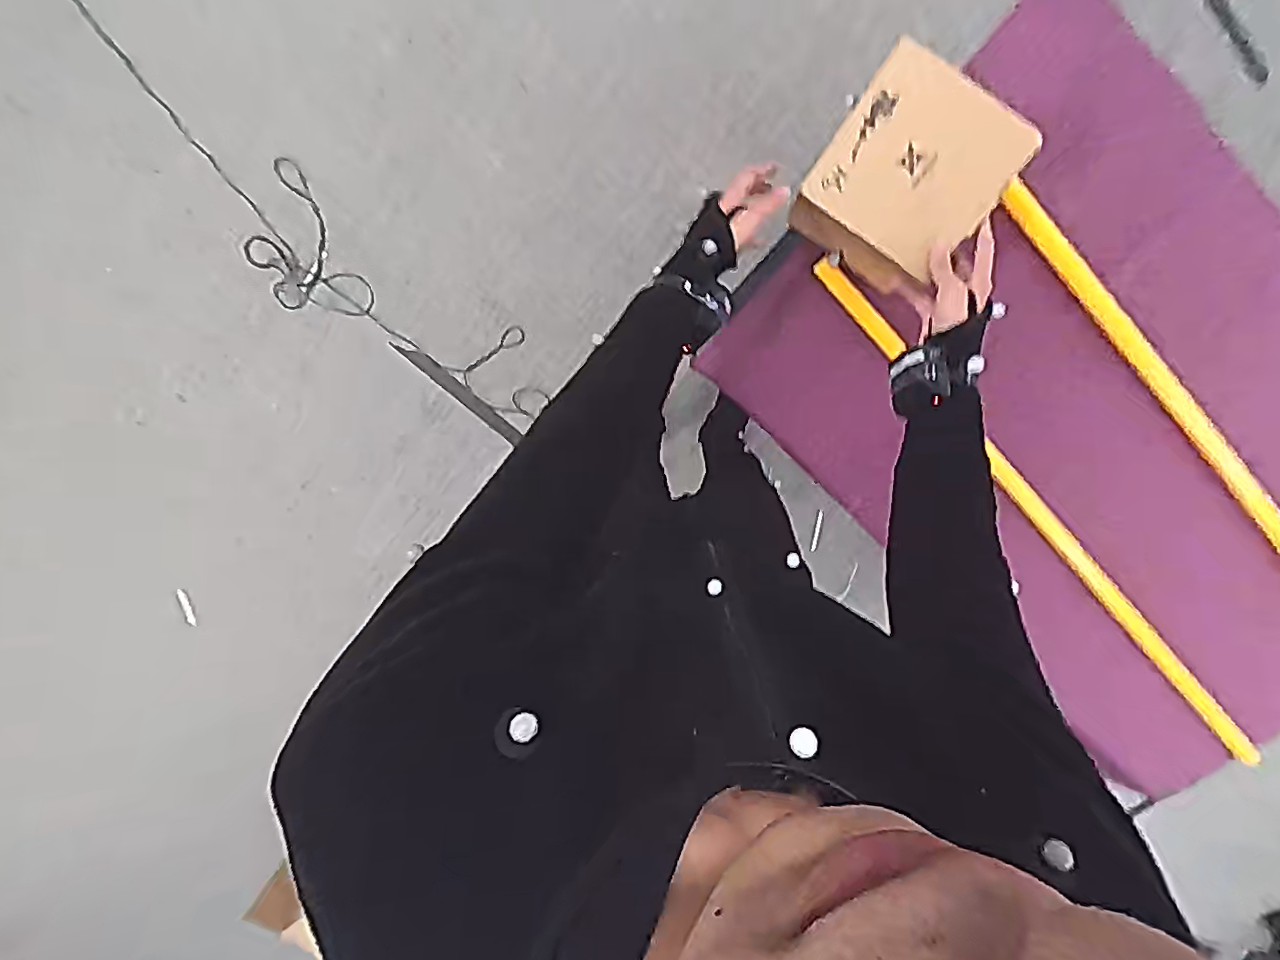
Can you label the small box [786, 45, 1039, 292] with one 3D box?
[{"bbox_3d":[0.296,-0.341,0.634,0.179,0.176,0.168,35,108,-3],"label":"small box"}]
